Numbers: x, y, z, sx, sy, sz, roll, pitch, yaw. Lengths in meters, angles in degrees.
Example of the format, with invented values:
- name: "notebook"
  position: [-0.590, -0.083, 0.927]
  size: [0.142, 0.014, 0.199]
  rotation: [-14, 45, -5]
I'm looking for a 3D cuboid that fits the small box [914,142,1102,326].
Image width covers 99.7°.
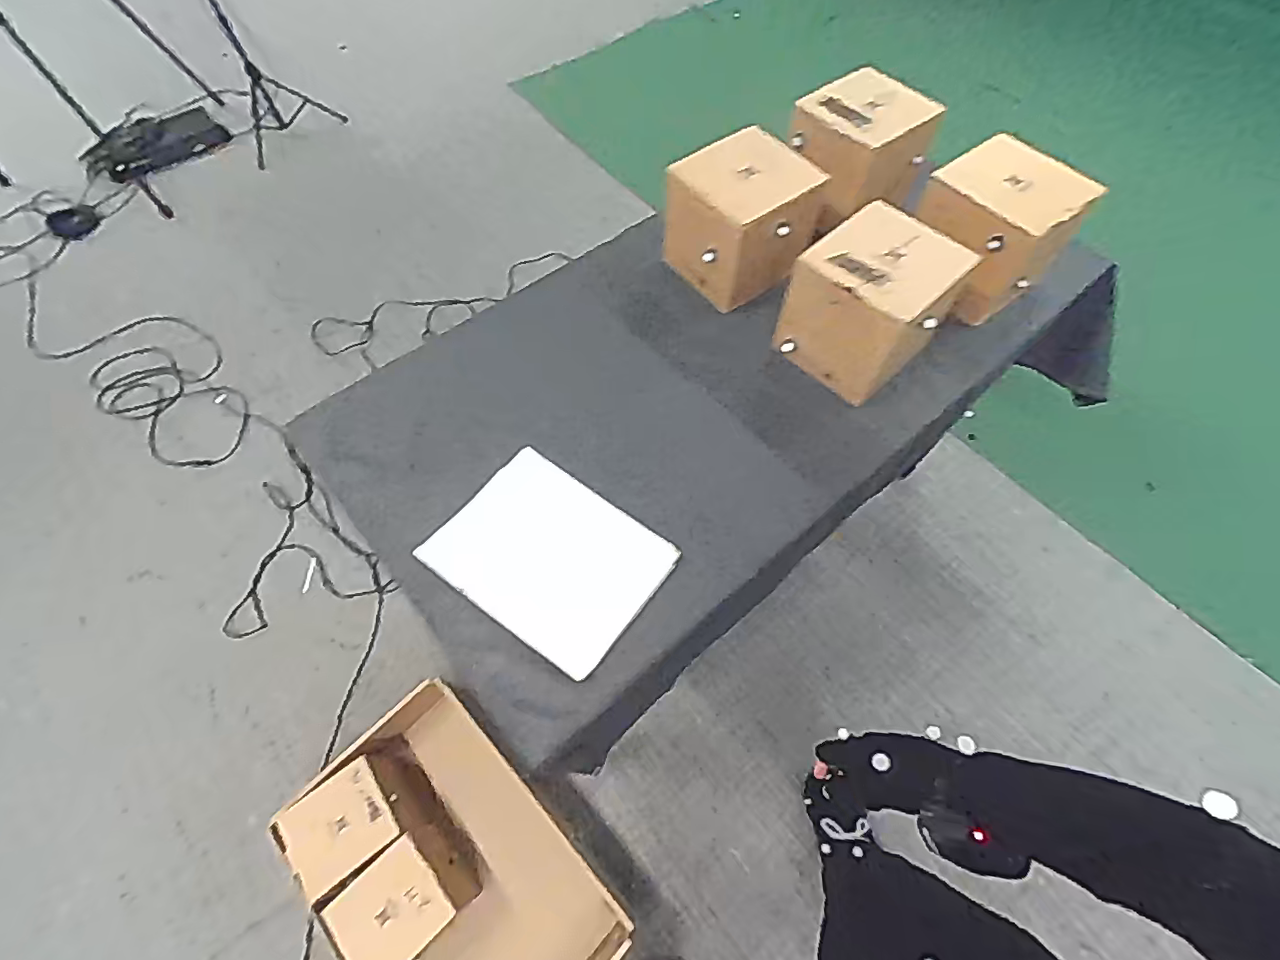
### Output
- name: "small box"
  position: [0.535, -0.377, 0.840]
  size: [0.168, 0.176, 0.179]
  rotation: [-33, 66, -16]

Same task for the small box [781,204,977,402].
- name: "small box"
  position: [0.321, -0.244, 0.769]
  size: [0.179, 0.176, 0.168]
  rotation: [-39, 68, -19]
